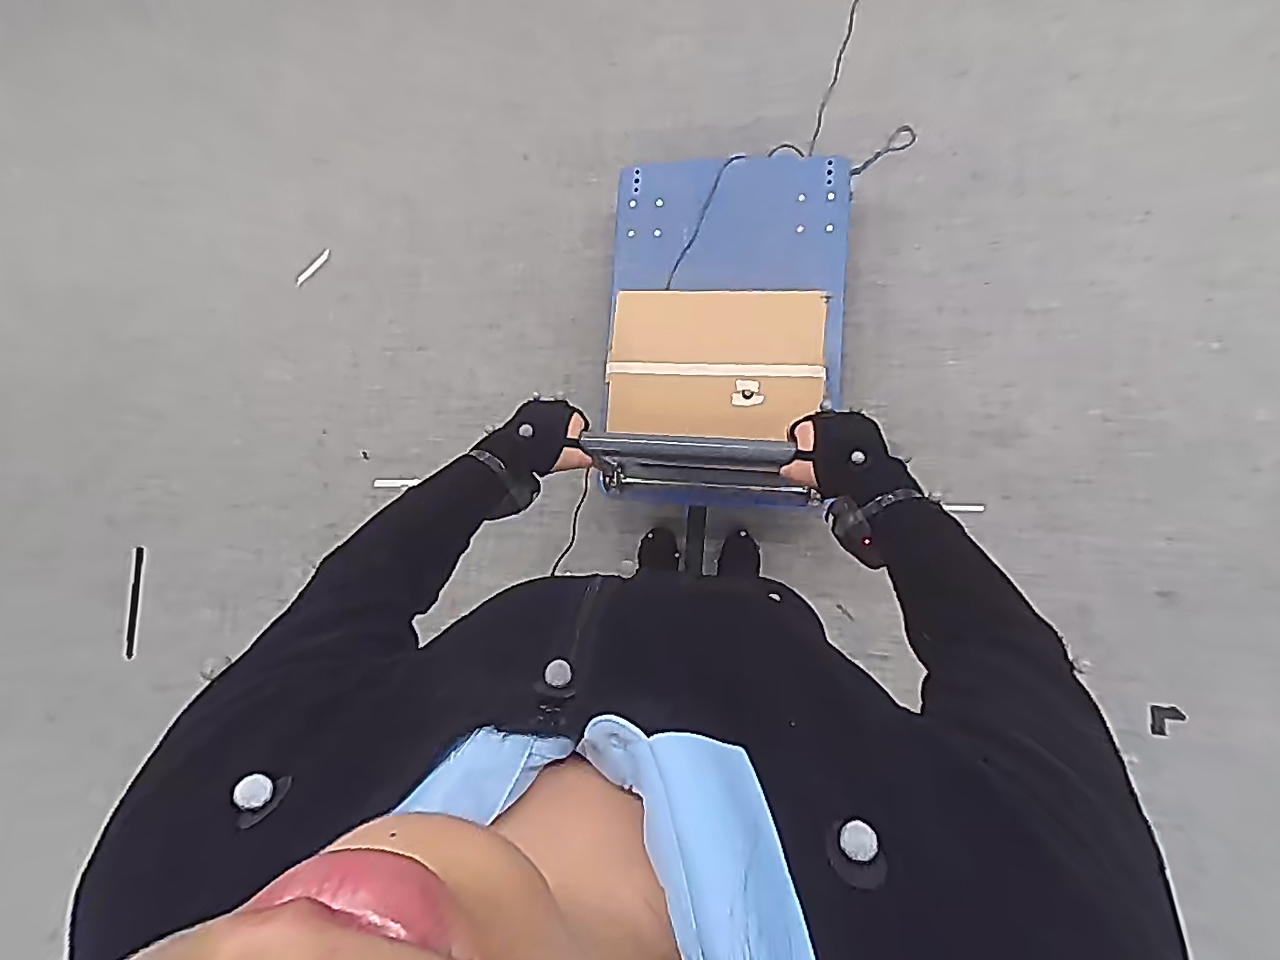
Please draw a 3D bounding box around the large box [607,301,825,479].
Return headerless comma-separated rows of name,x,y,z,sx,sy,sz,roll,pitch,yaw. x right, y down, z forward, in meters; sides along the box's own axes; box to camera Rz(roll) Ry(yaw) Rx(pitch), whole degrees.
large box,0.159,-0.175,1.166,0.408,0.320,0.320,3,86,9
